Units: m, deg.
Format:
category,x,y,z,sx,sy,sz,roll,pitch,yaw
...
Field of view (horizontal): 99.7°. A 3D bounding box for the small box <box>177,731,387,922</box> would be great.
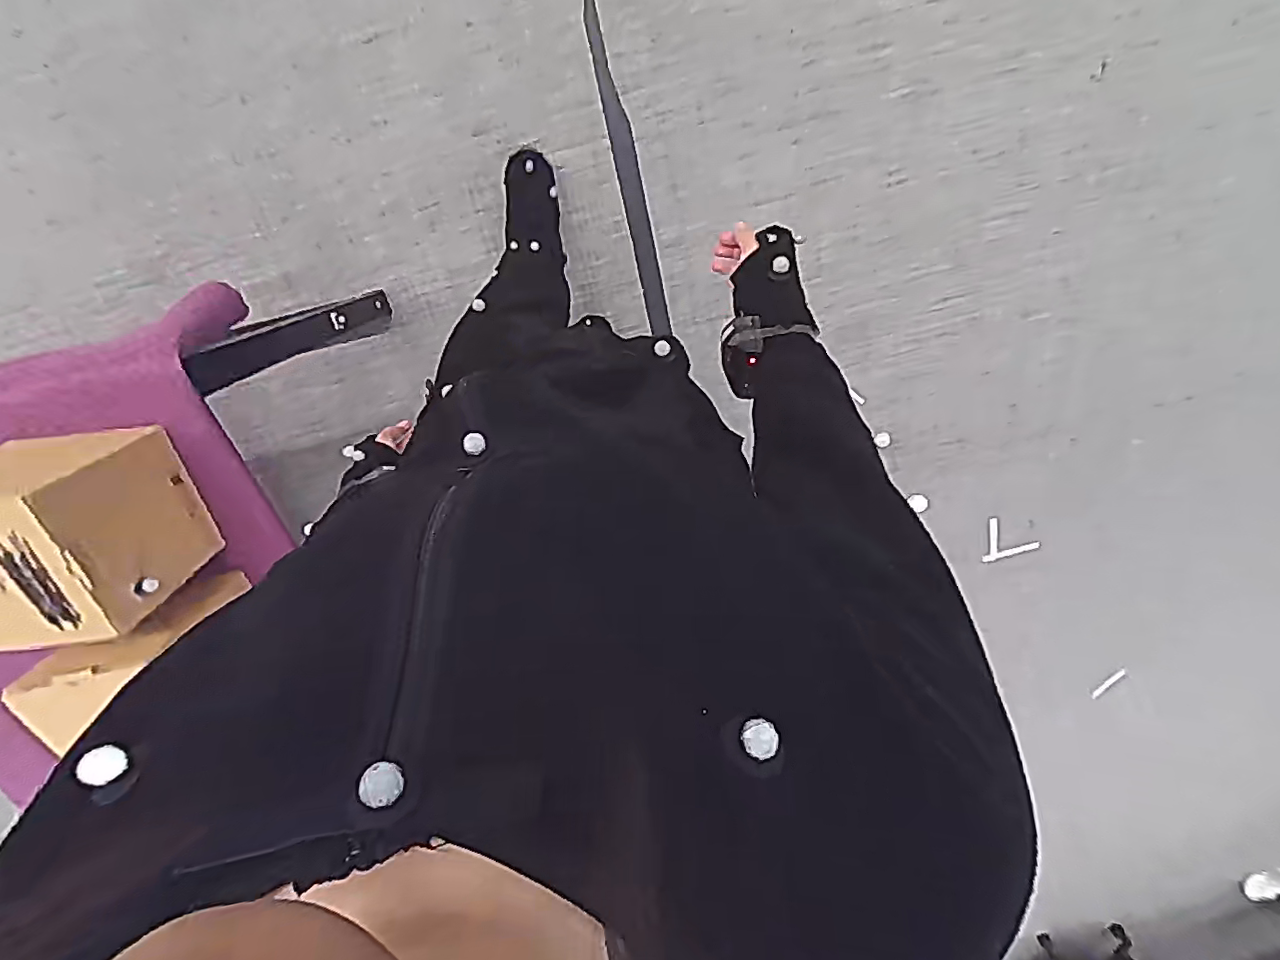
category,x,y,z,sx,sy,sz,roll,pitch,yaw
small box,-0.504,0.503,0.802,0.179,0.176,0.168,-15,116,4
